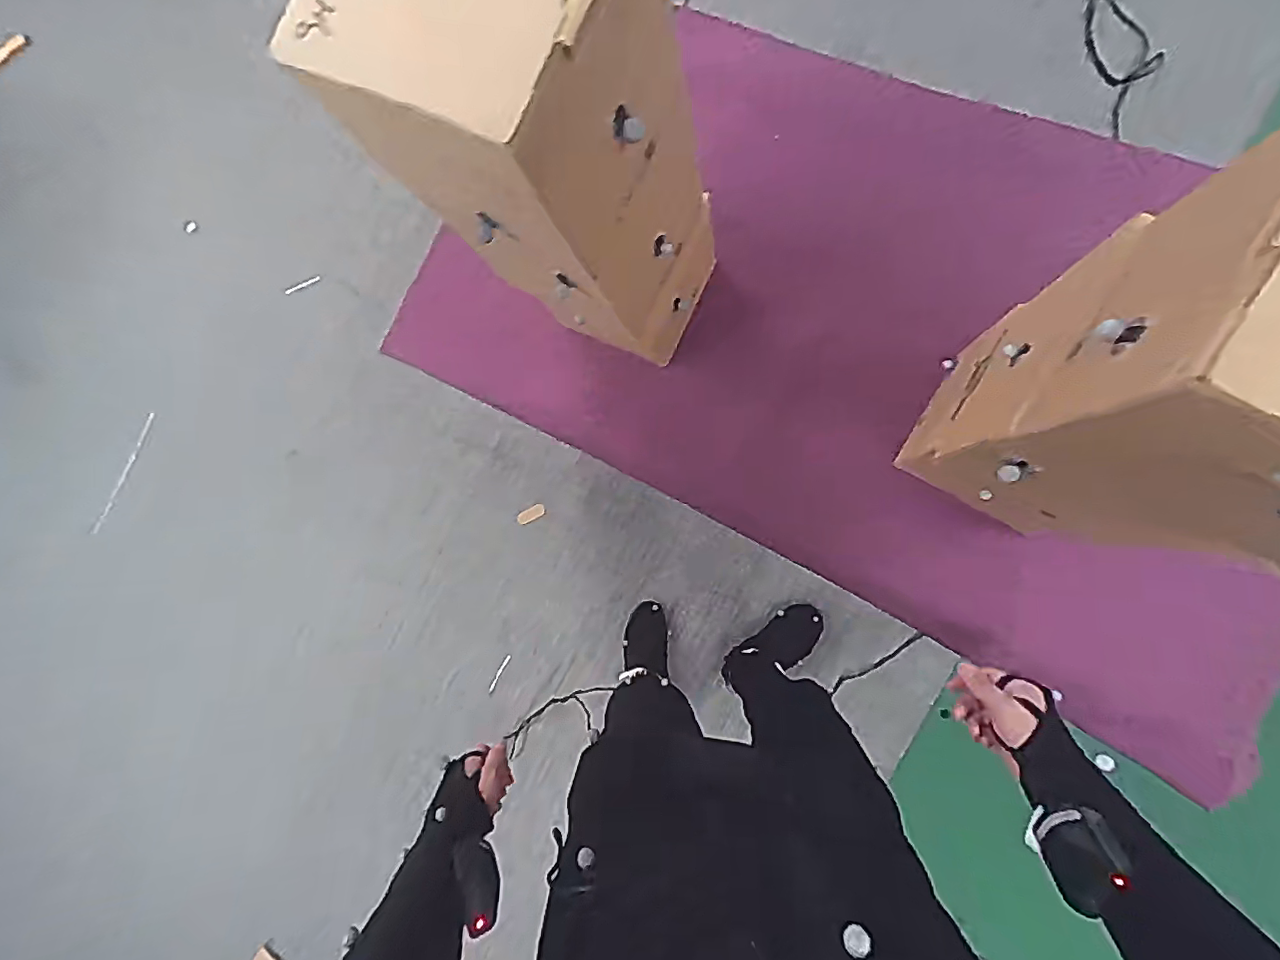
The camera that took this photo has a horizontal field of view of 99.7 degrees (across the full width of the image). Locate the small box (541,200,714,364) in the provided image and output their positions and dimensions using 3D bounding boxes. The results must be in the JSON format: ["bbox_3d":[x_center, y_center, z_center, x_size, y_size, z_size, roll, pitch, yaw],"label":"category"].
[{"bbox_3d":[-0.017,-0.267,0.702,0.179,0.176,0.168,26,92,13],"label":"small box"}]

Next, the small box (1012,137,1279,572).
[{"bbox_3d":[0.340,-0.054,0.271,0.179,0.176,0.168,33,94,12],"label":"small box"}]

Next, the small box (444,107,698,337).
[{"bbox_3d":[-0.057,-0.263,0.541,0.179,0.176,0.168,27,92,13],"label":"small box"}]

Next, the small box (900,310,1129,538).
[{"bbox_3d":[0.417,-0.049,0.589,0.179,0.176,0.168,31,93,12],"label":"small box"}]

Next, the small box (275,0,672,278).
[{"bbox_3d":[-0.093,-0.269,0.382,0.179,0.176,0.168,27,92,12],"label":"small box"}]
